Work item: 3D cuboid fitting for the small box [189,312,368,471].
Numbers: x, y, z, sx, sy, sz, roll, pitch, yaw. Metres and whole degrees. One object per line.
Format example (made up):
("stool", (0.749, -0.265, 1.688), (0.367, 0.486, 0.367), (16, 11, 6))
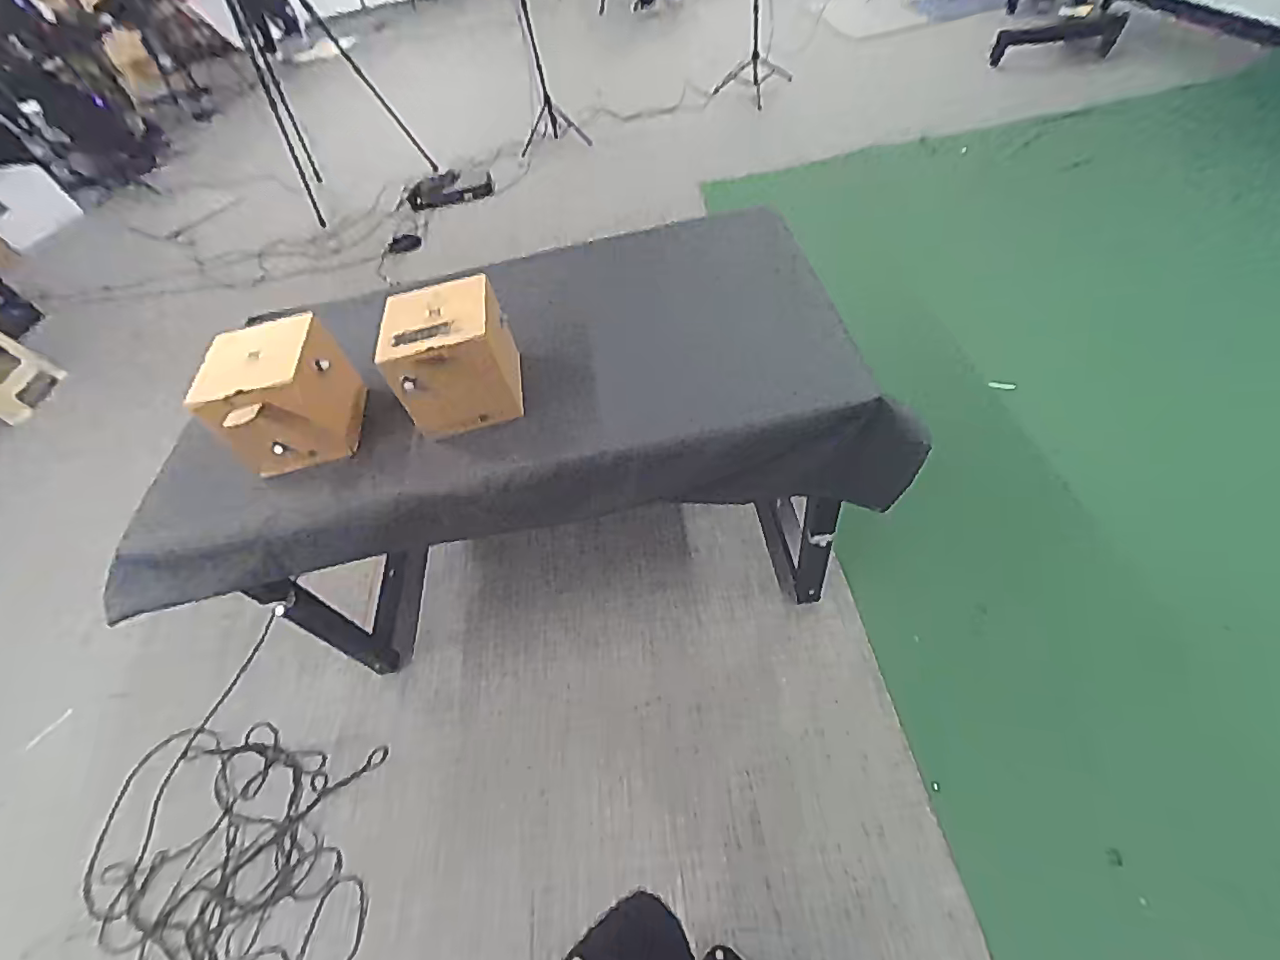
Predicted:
("small box", (-0.575, -0.143, 0.892), (0.168, 0.176, 0.179), (-14, 52, -1))
